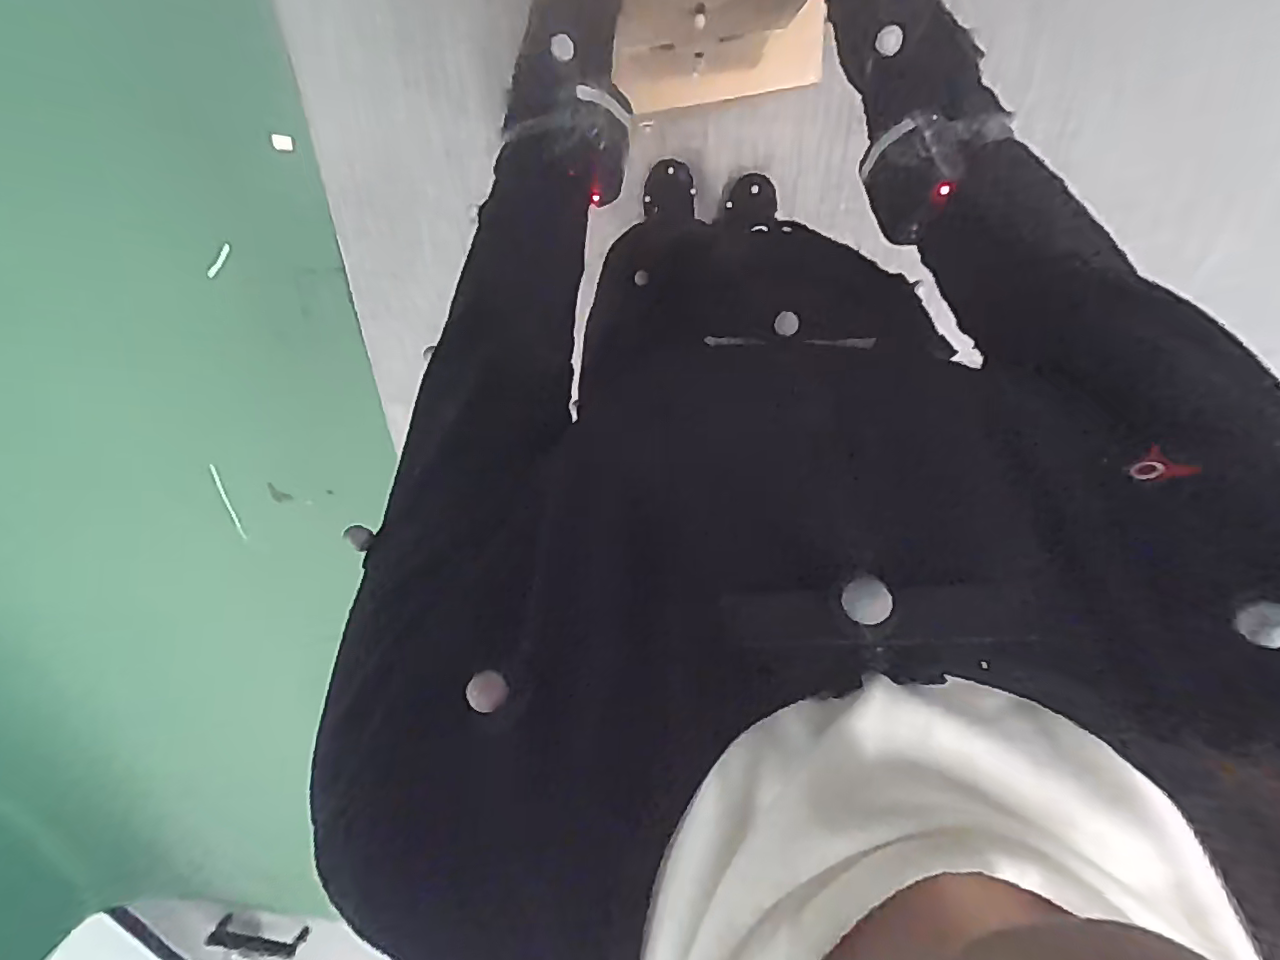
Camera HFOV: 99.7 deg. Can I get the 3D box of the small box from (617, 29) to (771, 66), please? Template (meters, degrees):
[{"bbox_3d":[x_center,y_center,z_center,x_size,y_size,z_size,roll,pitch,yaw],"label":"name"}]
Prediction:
[{"bbox_3d":[0.060,-0.573,0.593,0.168,0.176,0.179,-1,123,9],"label":"small box"}]

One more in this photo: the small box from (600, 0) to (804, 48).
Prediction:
[{"bbox_3d":[0.051,-0.470,0.426,0.179,0.176,0.168,-3,116,5],"label":"small box"}]

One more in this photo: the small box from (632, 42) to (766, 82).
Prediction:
[{"bbox_3d":[0.079,-0.655,0.733,0.179,0.176,0.168,-1,122,7],"label":"small box"}]
